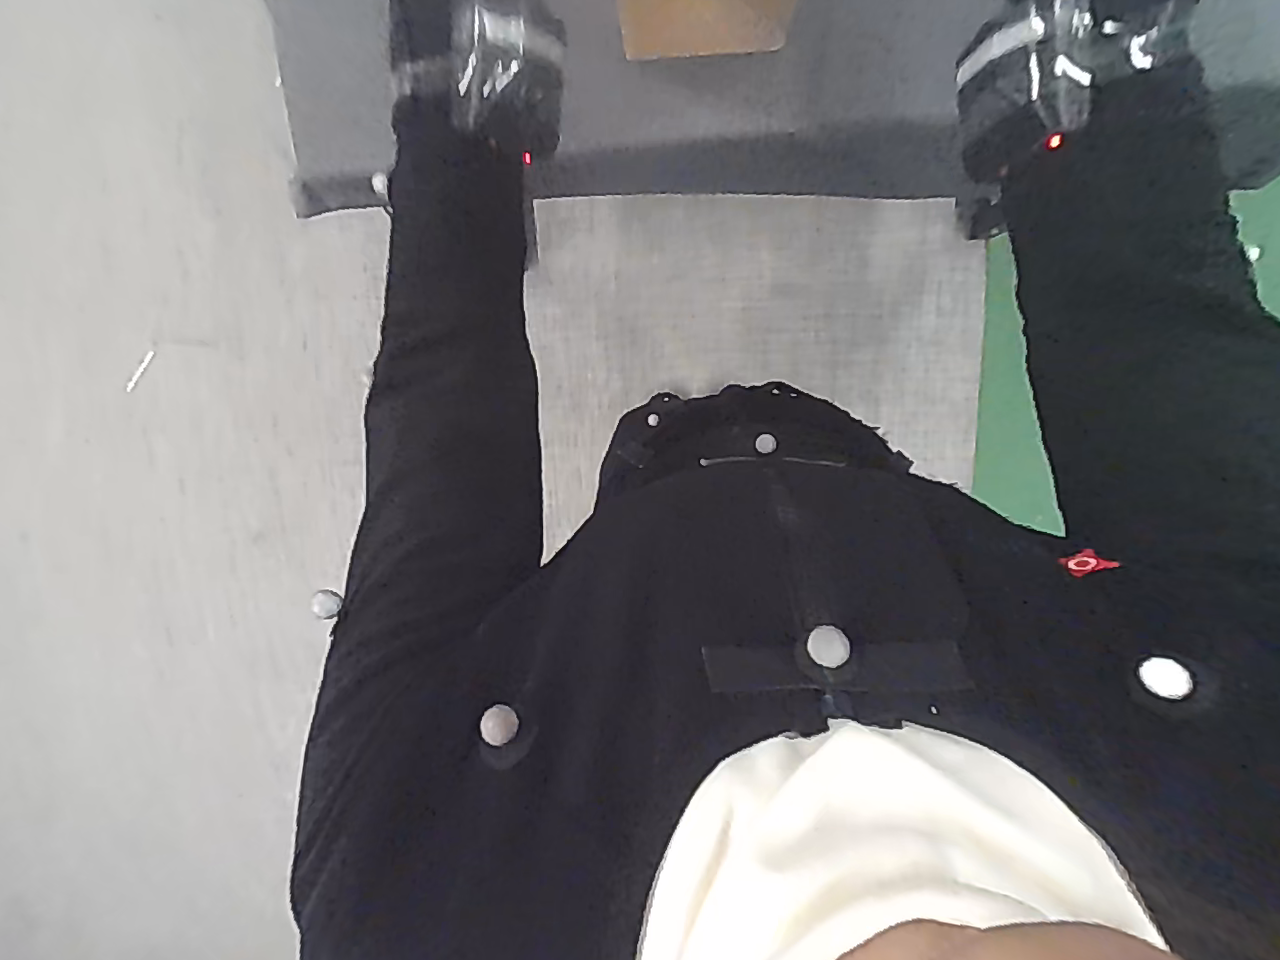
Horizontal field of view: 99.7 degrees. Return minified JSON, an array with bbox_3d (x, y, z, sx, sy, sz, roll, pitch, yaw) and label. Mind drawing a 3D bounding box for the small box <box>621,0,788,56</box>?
[{"bbox_3d":[0.064,-0.556,0.532,0.179,0.176,0.168,-1,101,4],"label":"small box"}]
